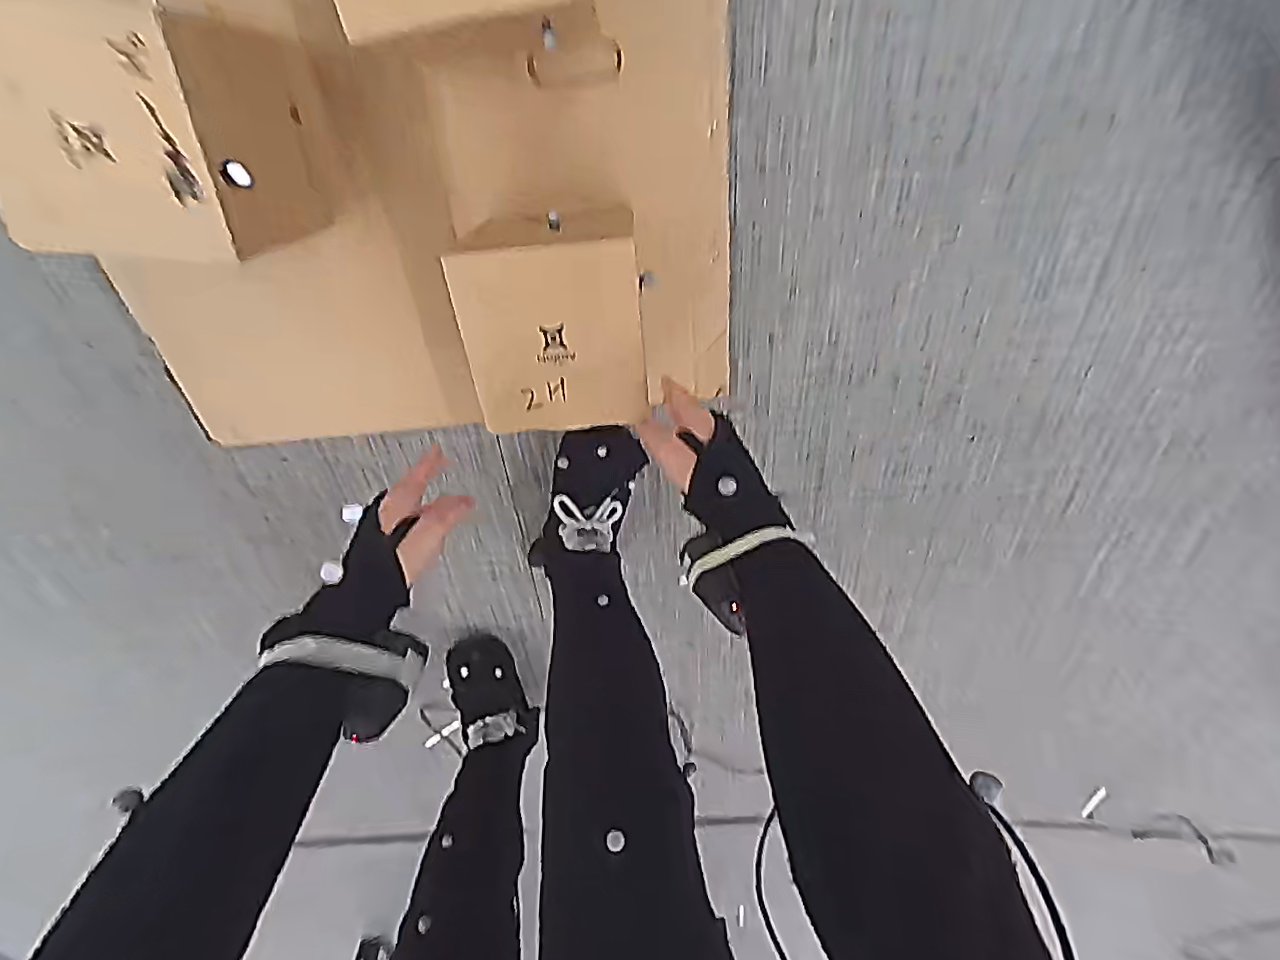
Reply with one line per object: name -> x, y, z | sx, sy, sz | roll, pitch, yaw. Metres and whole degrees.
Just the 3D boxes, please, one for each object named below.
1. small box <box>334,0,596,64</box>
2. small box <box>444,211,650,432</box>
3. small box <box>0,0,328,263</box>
small box -> -0.131, -0.423, 0.389 | 0.179, 0.176, 0.168 | -9, 123, 4
small box -> -0.080, -0.171, 0.560 | 0.168, 0.176, 0.179 | -4, 125, 2
small box -> -0.410, -0.296, 0.463 | 0.179, 0.176, 0.168 | 3, 124, -2
